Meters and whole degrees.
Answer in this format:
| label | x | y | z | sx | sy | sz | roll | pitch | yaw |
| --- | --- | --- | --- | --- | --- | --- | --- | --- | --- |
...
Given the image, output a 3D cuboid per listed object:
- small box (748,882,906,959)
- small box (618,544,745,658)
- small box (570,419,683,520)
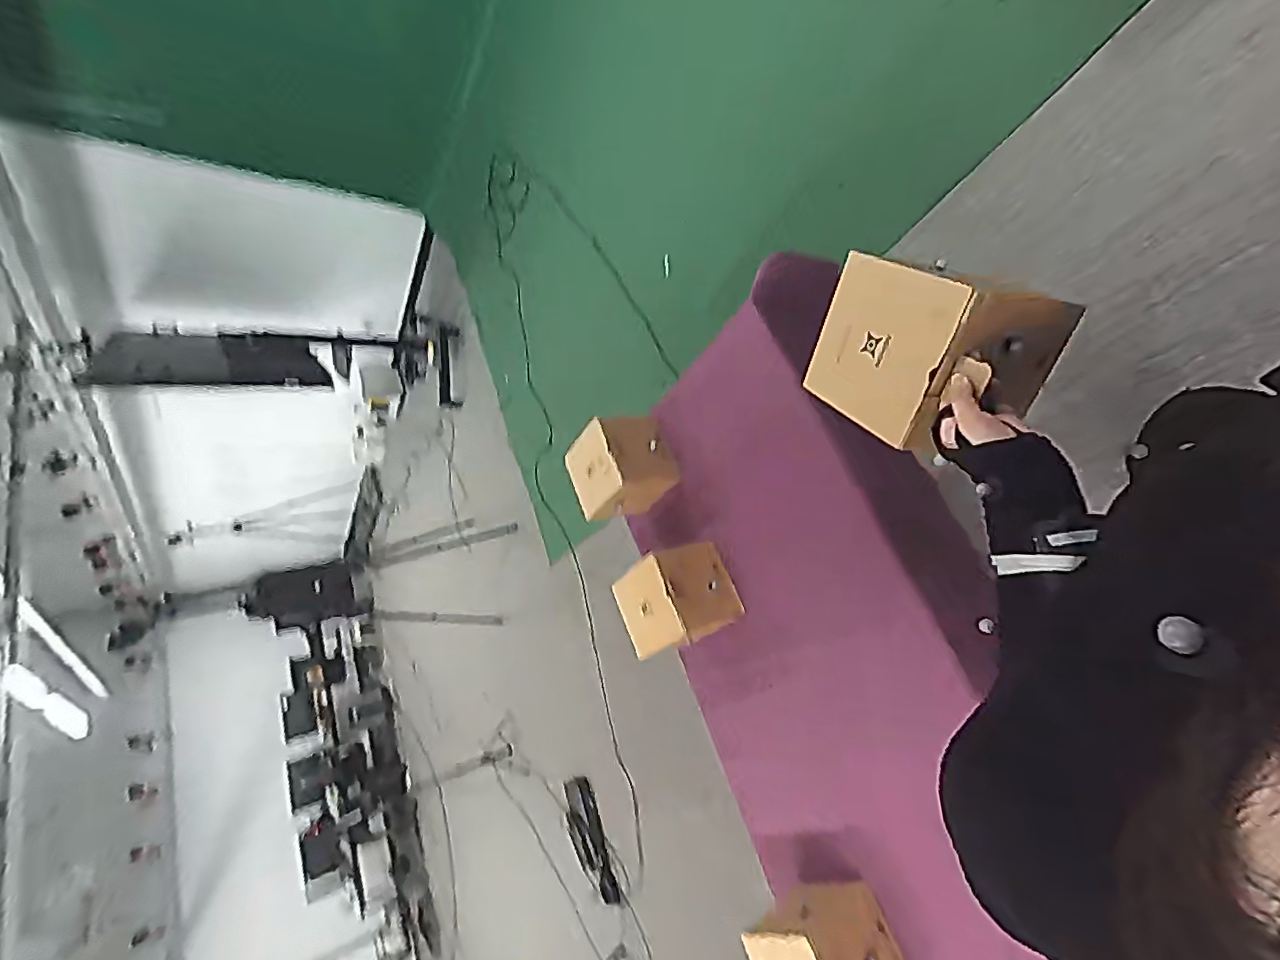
| label | x | y | z | sx | sy | sz | roll | pitch | yaw |
| --- | --- | --- | --- | --- | --- | --- | --- | --- | --- |
| small box | 0.320 | 0.798 | 0.893 | 0.179 | 0.176 | 0.168 | -50 | 55 | 42 |
| small box | 0.085 | 0.250 | 1.131 | 0.179 | 0.176 | 0.168 | -47 | 58 | 44 |
| small box | -0.032 | -0.025 | 1.241 | 0.179 | 0.176 | 0.168 | -45 | 61 | 45 |
